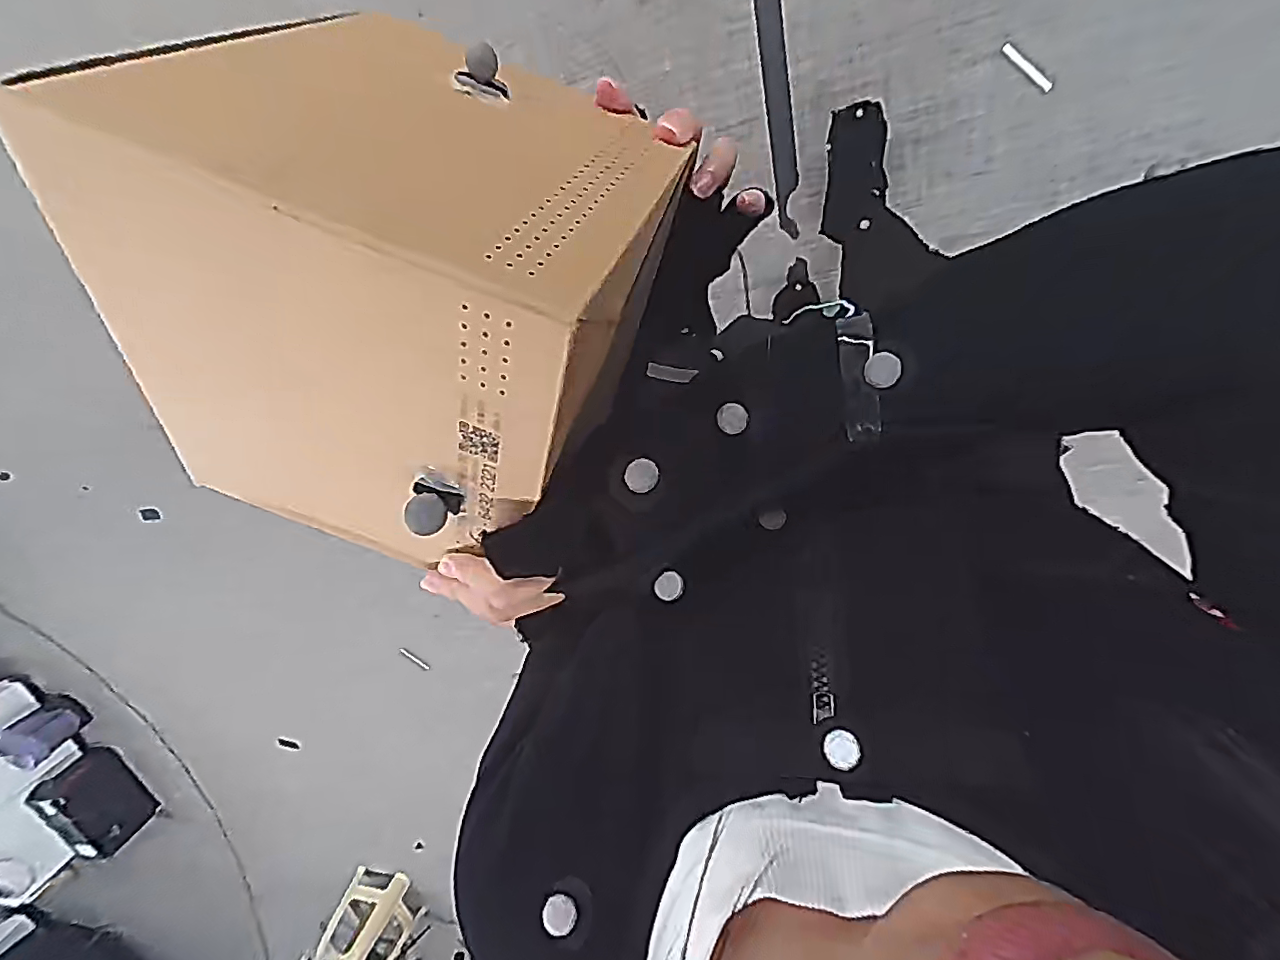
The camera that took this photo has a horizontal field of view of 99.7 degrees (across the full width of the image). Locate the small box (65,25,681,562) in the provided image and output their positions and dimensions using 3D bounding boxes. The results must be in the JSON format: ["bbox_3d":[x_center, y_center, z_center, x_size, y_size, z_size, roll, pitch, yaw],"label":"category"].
[{"bbox_3d":[-0.089,-0.089,0.273,0.176,0.179,0.168,21,137,-1],"label":"small box"}]
